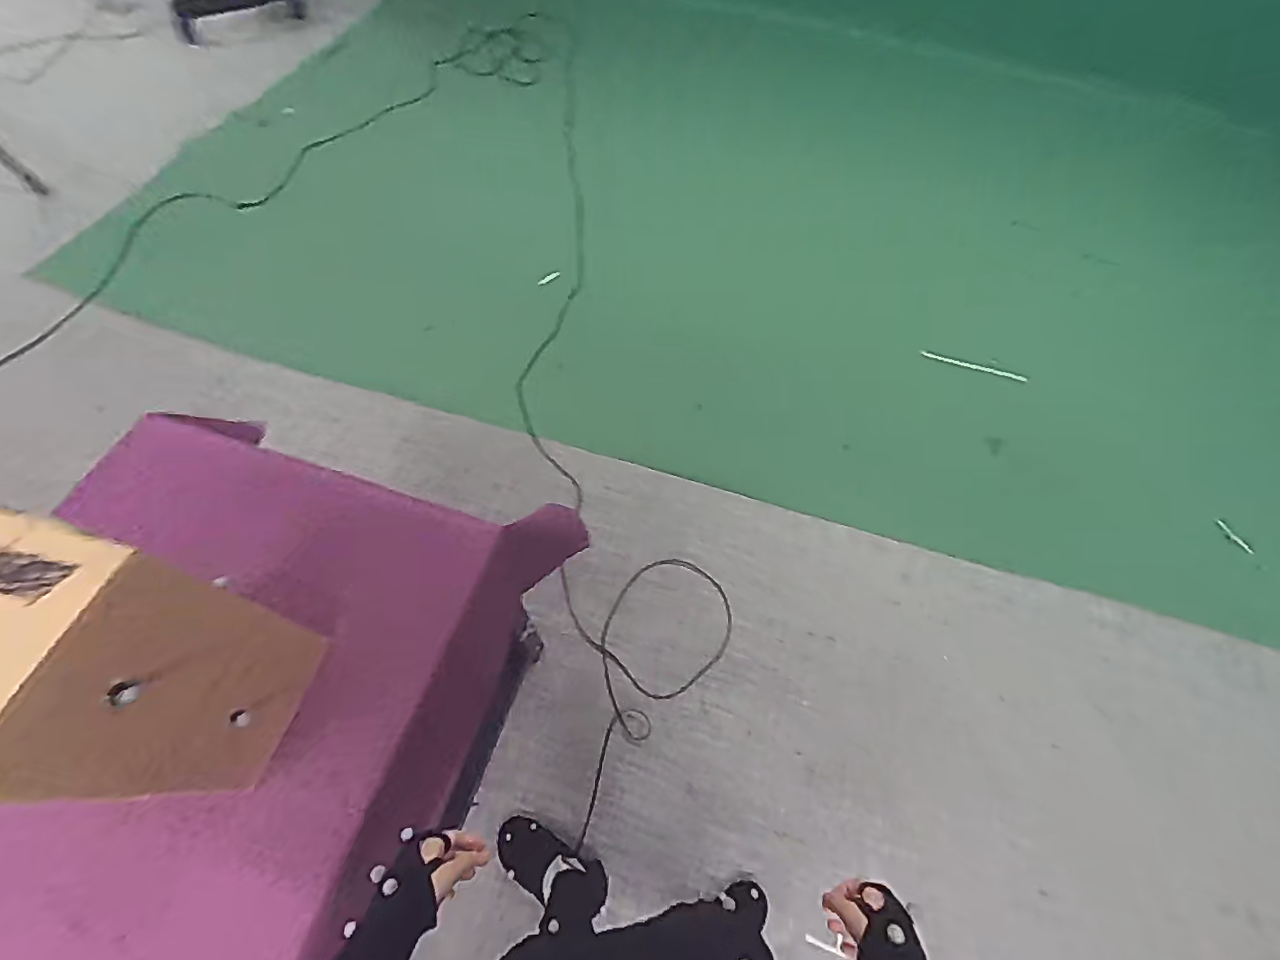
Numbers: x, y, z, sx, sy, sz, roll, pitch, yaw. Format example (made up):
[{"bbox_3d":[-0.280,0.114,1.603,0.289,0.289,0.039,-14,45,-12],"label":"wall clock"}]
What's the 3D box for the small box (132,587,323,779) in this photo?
[{"bbox_3d":[-0.493,0.209,0.594,0.168,0.176,0.179,15,62,5],"label":"small box"}]
